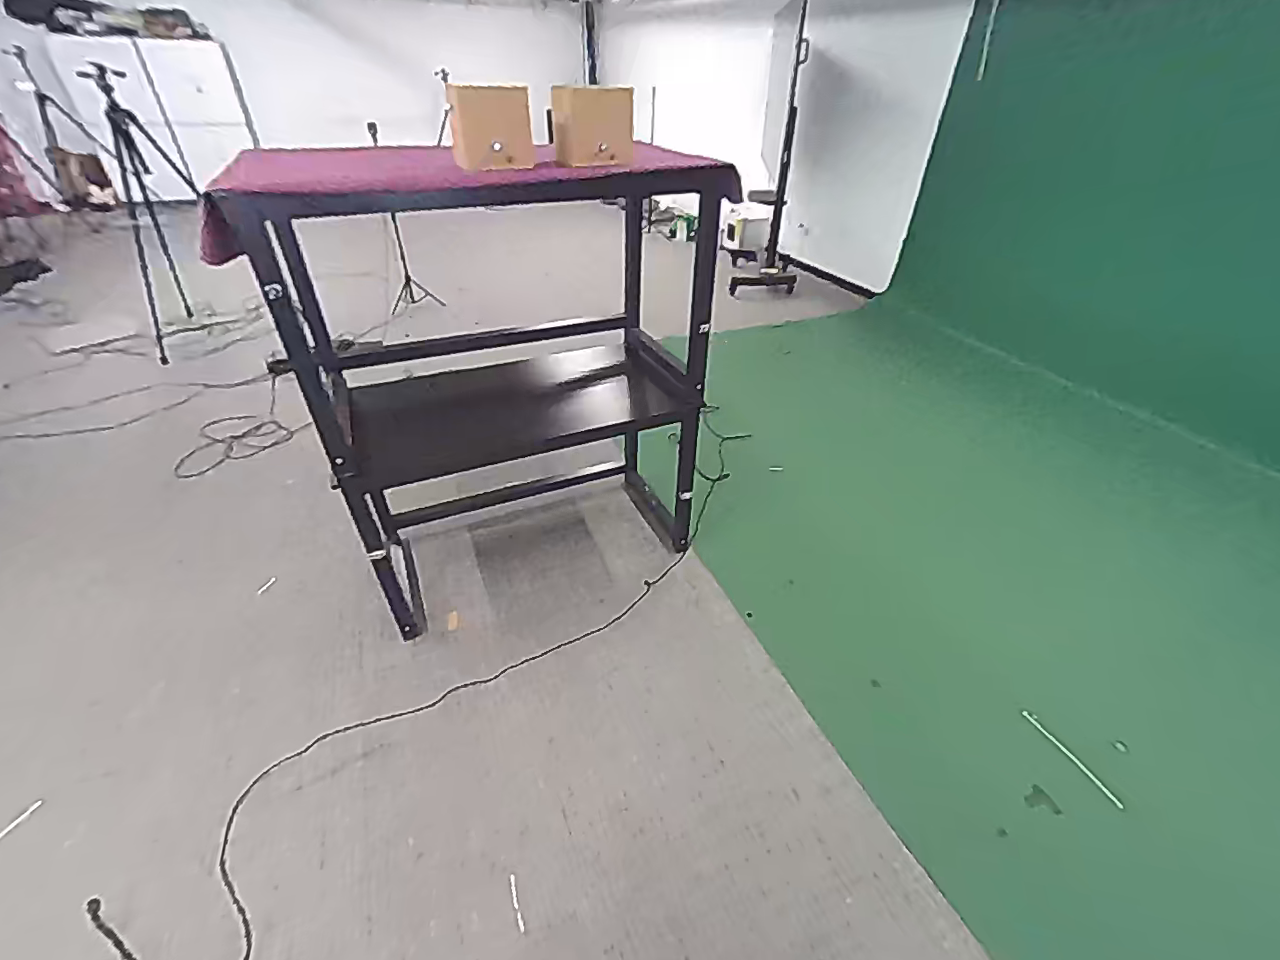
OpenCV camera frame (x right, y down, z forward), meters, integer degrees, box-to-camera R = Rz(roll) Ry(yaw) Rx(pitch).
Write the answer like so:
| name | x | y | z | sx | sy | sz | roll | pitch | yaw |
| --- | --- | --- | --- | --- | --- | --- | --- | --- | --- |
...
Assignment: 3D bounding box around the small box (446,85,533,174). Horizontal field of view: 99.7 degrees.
| name | x | y | z | sx | sy | sz | roll | pitch | yaw |
| --- | --- | --- | --- | --- | --- | --- | --- | --- | --- |
| small box | -0.365 | -0.851 | 1.314 | 0.168 | 0.176 | 0.179 | -14 | 39 | -19 |
